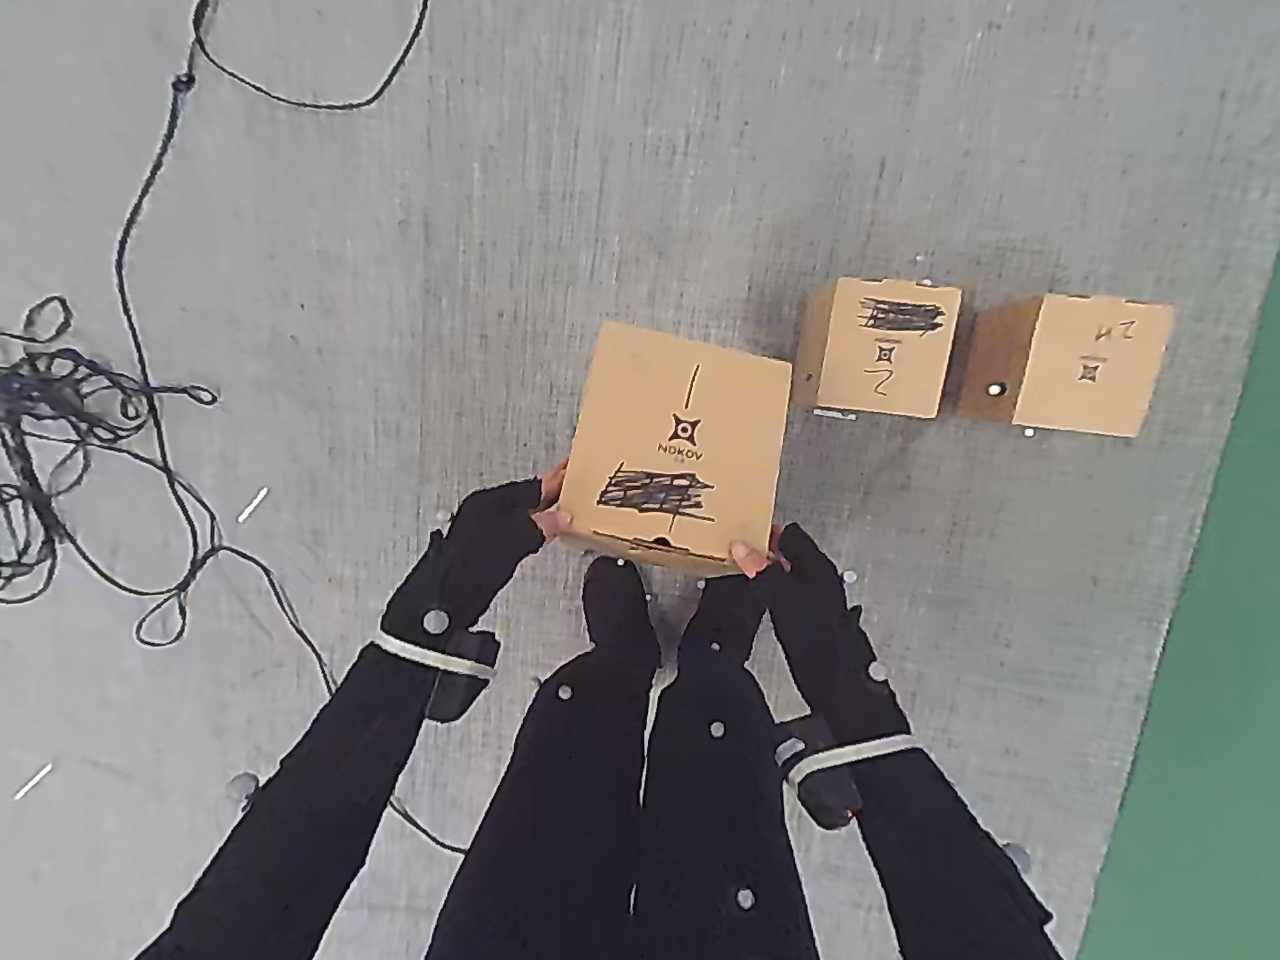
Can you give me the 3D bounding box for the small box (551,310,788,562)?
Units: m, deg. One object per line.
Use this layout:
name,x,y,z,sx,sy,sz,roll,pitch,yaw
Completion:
small box,0.021,-0.024,0.507,0.168,0.176,0.179,12,77,-3

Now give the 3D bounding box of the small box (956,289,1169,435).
small box,0.595,-0.168,0.791,0.168,0.176,0.179,7,100,4
